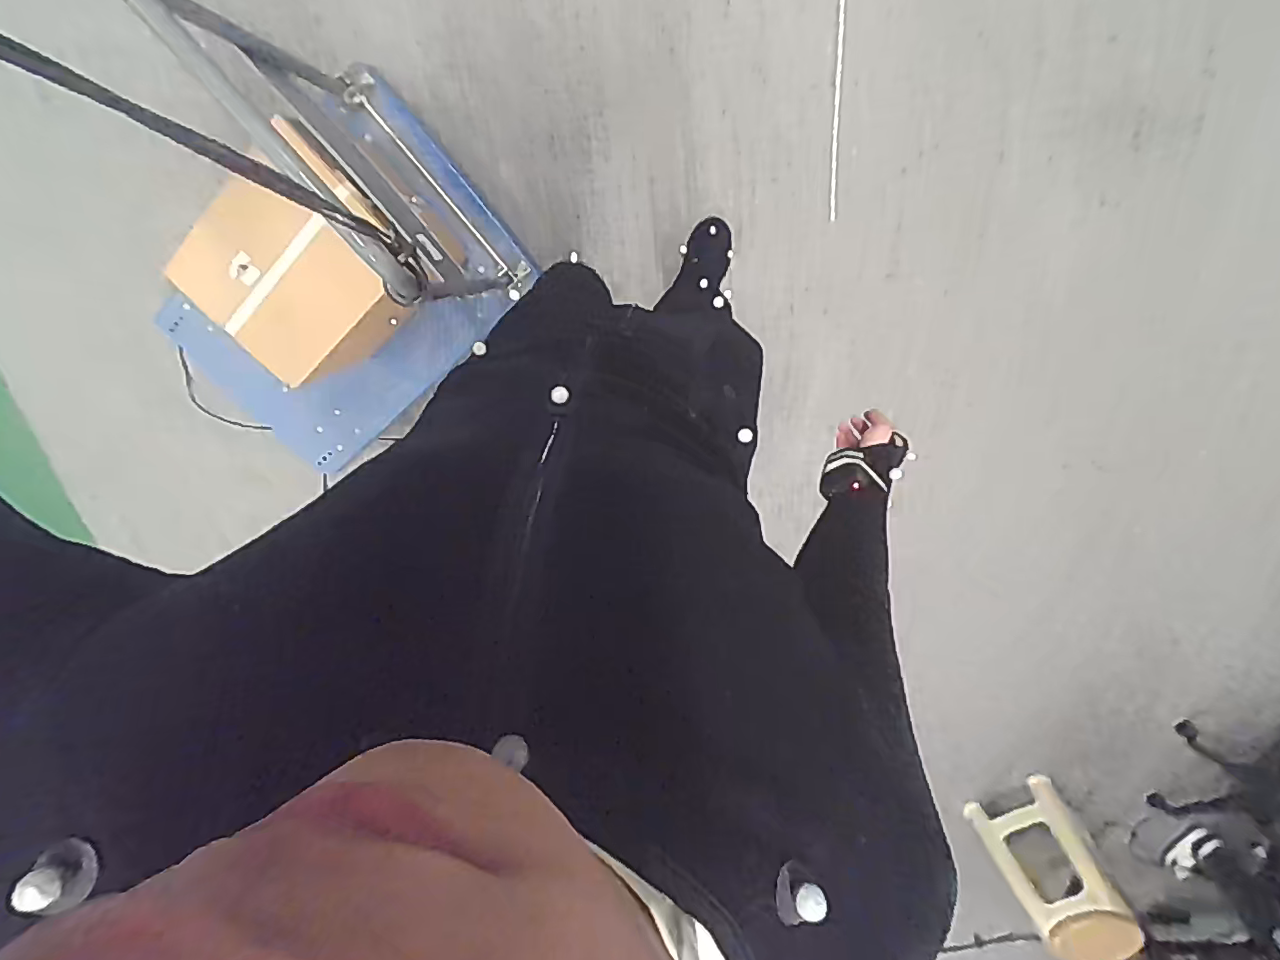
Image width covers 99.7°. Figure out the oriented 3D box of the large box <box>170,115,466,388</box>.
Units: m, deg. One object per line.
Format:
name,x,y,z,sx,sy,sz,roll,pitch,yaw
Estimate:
large box,-0.658,-0.474,1.162,0.408,0.320,0.320,-36,107,19
